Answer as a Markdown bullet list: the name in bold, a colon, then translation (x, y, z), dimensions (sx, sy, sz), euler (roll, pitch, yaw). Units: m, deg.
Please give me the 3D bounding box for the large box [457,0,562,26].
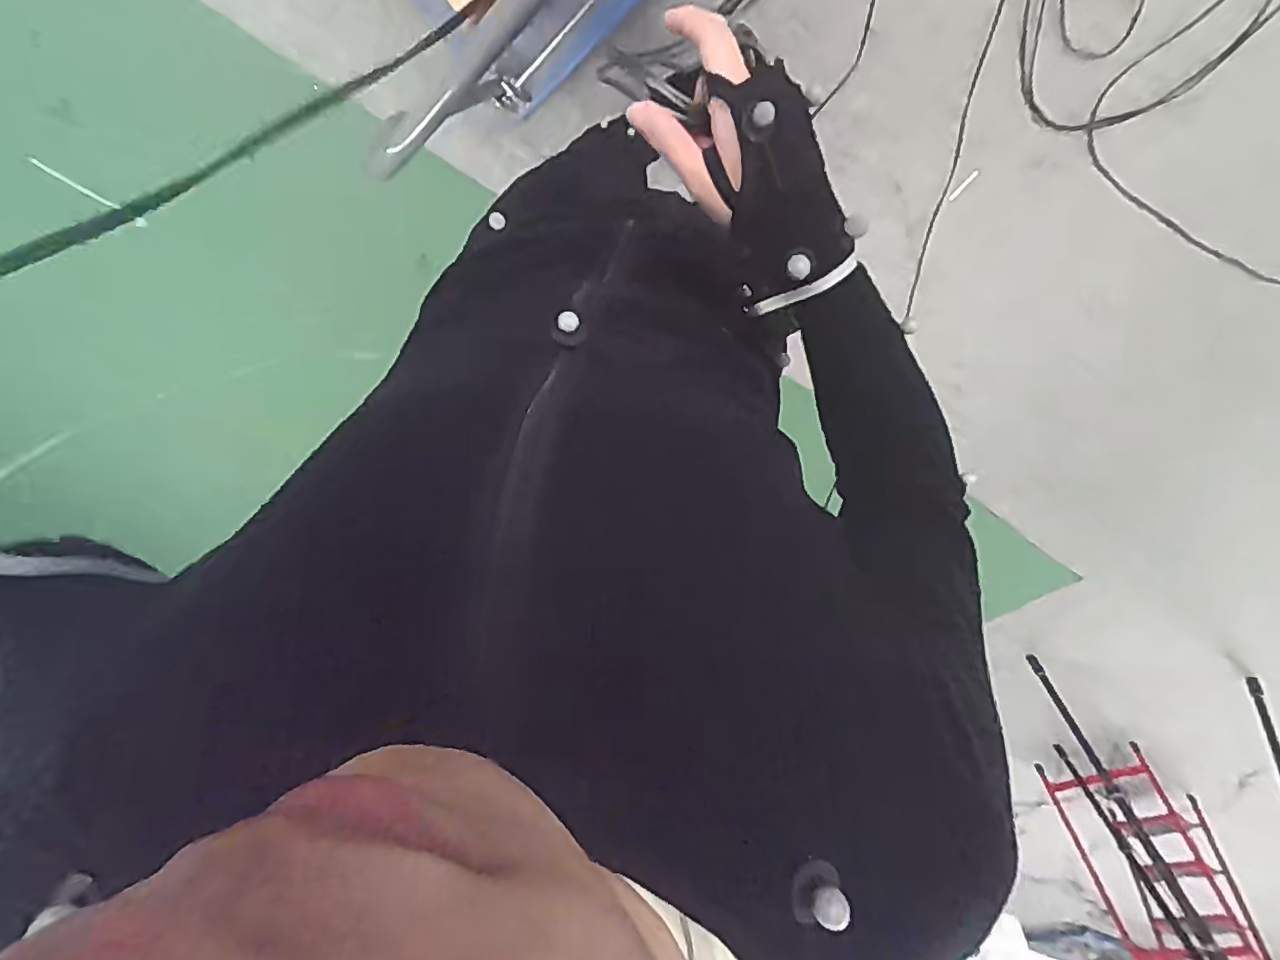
- **large box**: translation (-0.219, -0.958, 0.757), dimensions (0.320, 0.320, 0.408), euler (-27, 119, 28)
